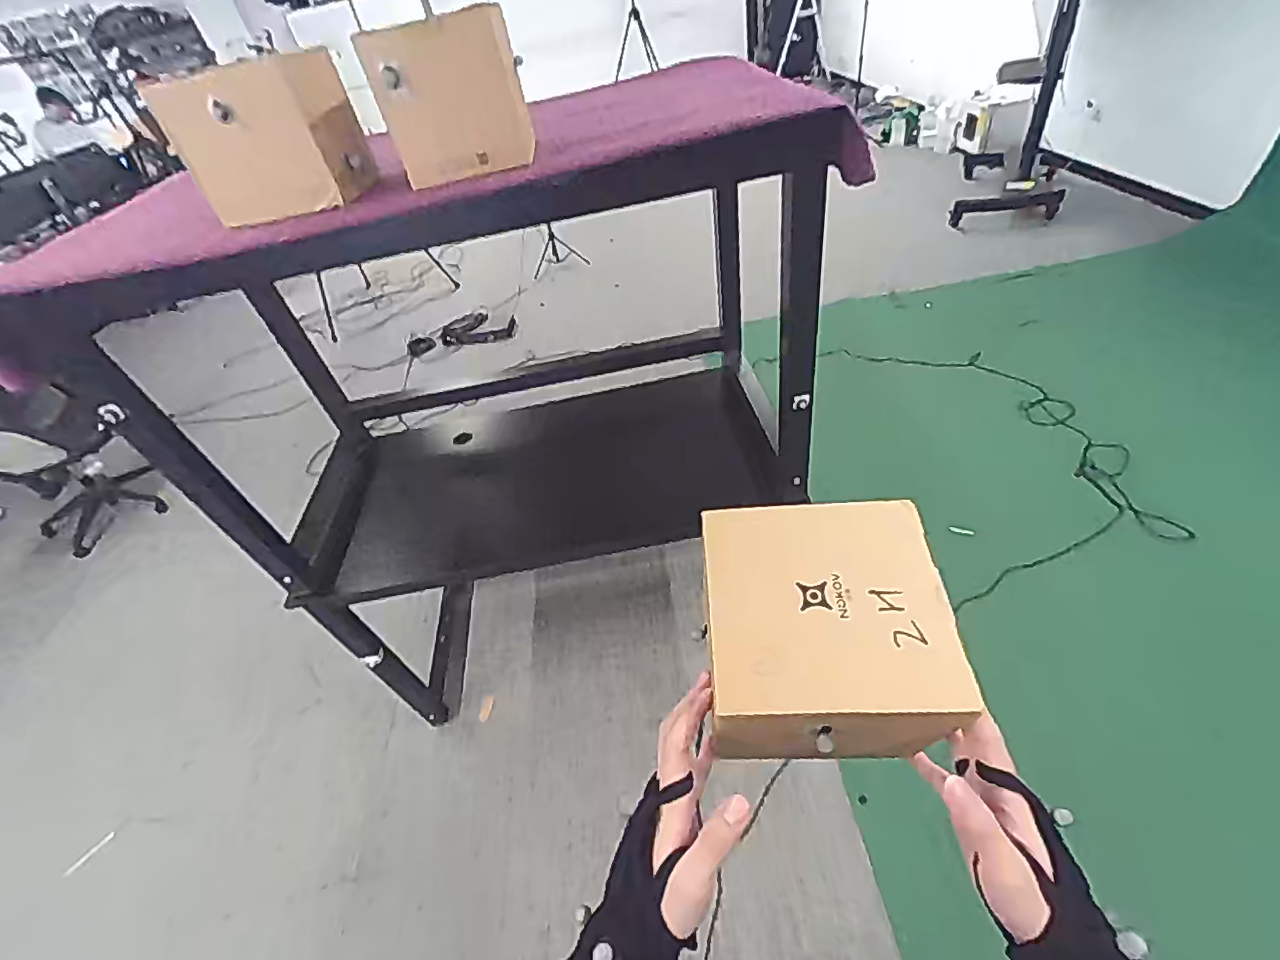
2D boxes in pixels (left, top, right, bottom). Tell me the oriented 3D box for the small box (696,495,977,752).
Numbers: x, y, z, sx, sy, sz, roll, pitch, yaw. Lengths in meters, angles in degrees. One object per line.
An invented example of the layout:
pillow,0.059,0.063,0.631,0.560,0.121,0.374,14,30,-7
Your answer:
small box,0.142,0.130,0.464,0.179,0.176,0.168,-3,54,5

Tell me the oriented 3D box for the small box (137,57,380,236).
small box,-0.497,-0.451,0.738,0.179,0.176,0.168,-9,42,4
